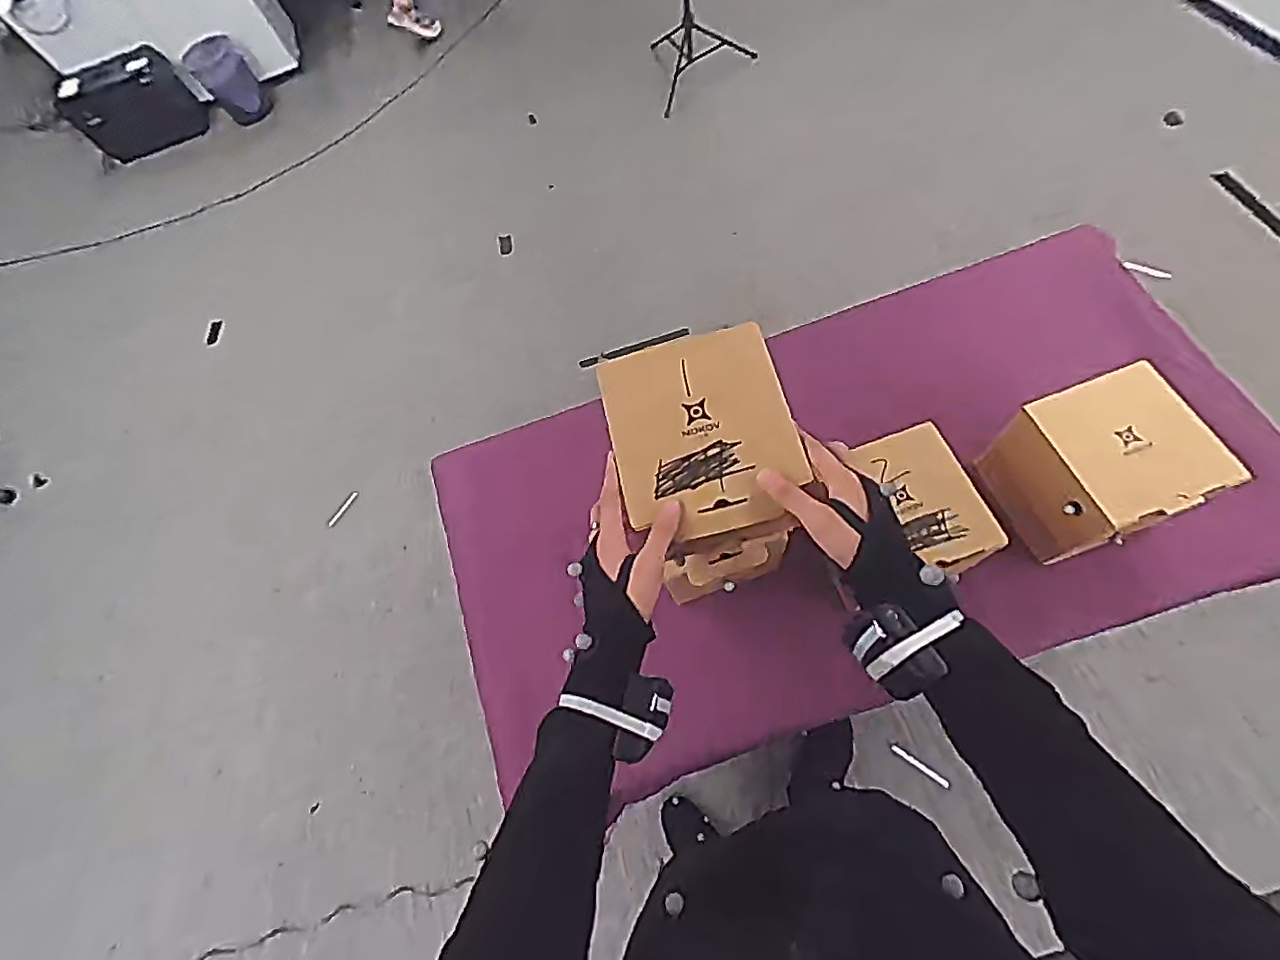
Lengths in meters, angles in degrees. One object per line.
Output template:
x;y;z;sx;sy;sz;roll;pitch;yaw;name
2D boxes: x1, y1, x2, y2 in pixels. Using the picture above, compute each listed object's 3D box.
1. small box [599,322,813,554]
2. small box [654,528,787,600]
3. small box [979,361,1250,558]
0.067;-0.029;0.572;0.168;0.176;0.179;-15;69;3;small box
0.094;0.053;0.773;0.168;0.176;0.179;-20;66;2;small box
0.595;-0.018;0.714;0.168;0.176;0.179;-21;66;1;small box
